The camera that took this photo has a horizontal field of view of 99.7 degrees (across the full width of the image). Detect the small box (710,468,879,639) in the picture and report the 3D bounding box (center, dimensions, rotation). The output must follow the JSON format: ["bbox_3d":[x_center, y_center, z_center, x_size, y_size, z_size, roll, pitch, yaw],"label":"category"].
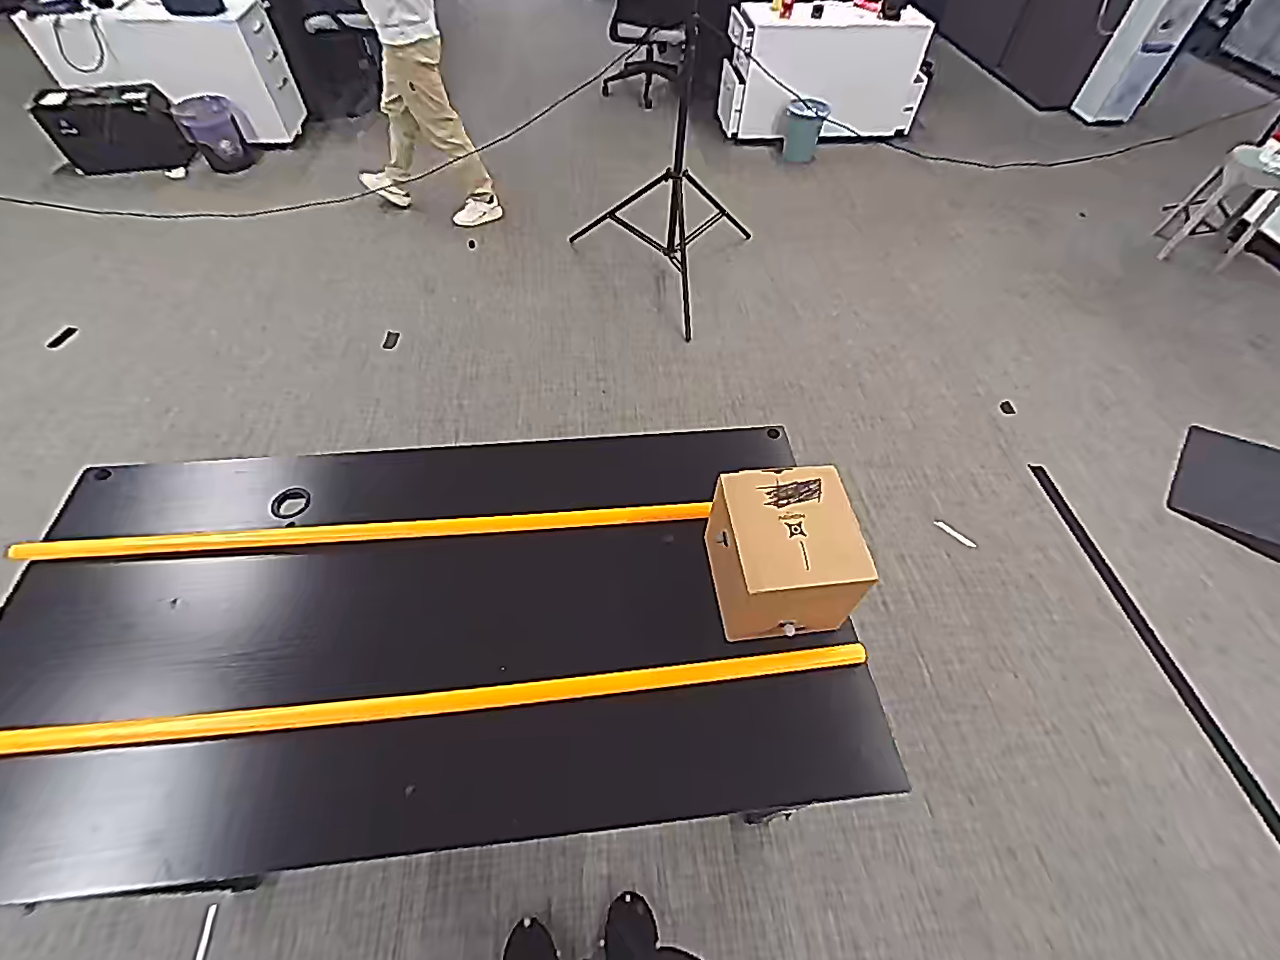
[{"bbox_3d":[0.200,0.105,0.763,0.168,0.176,0.179,-5,54,-4],"label":"small box"}]
